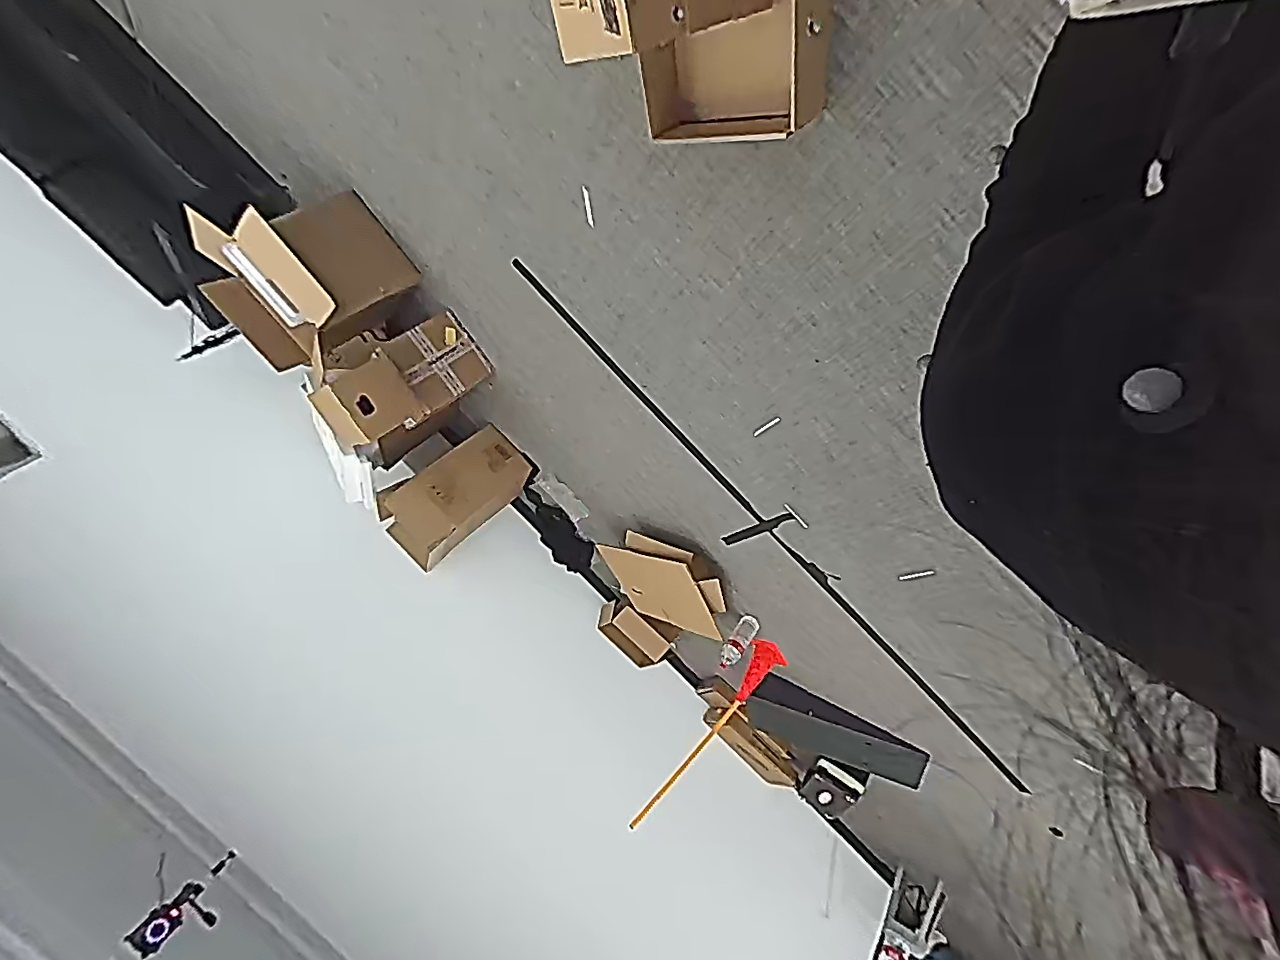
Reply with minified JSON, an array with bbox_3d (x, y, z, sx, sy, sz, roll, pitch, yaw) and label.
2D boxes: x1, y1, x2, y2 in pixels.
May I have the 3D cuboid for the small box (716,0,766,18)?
[{"bbox_3d":[0.159,-1.073,1.118,0.179,0.176,0.168,23,144,31],"label":"small box"}]

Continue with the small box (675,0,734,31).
[{"bbox_3d":[0.061,-0.975,1.035,0.179,0.176,0.168,22,143,31],"label":"small box"}]

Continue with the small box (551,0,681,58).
[{"bbox_3d":[-0.041,-0.873,0.955,0.179,0.176,0.168,23,144,33],"label":"small box"}]
